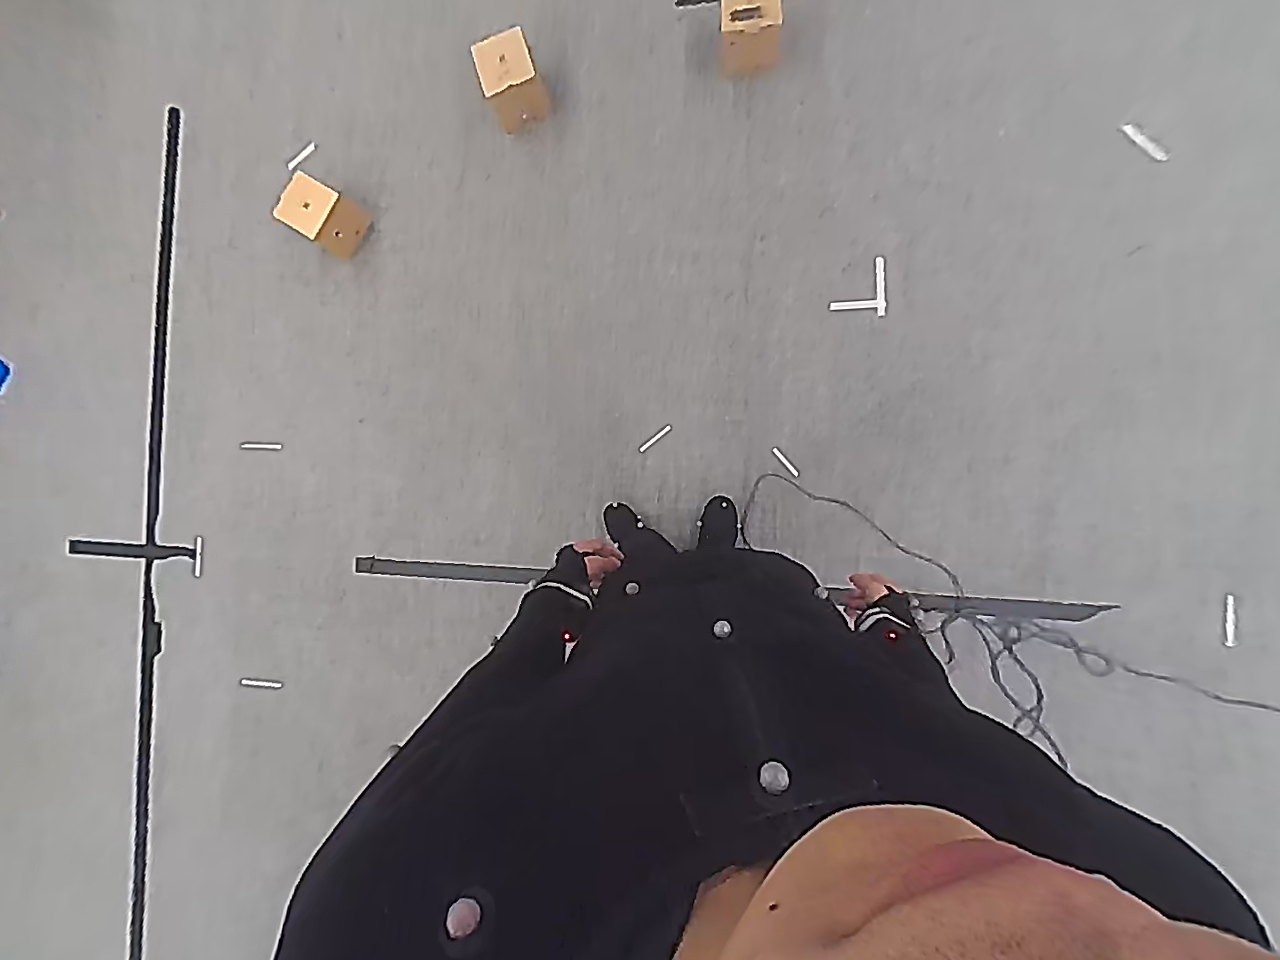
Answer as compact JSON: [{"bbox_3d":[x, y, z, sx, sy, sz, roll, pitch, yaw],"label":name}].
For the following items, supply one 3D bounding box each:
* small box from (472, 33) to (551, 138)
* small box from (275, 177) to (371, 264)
[{"bbox_3d":[-0.398,-1.226,1.694,0.168,0.176,0.179,-18,85,7],"label":"small box"},{"bbox_3d":[-1.026,-0.835,1.764,0.179,0.176,0.168,32,93,8],"label":"small box"}]
